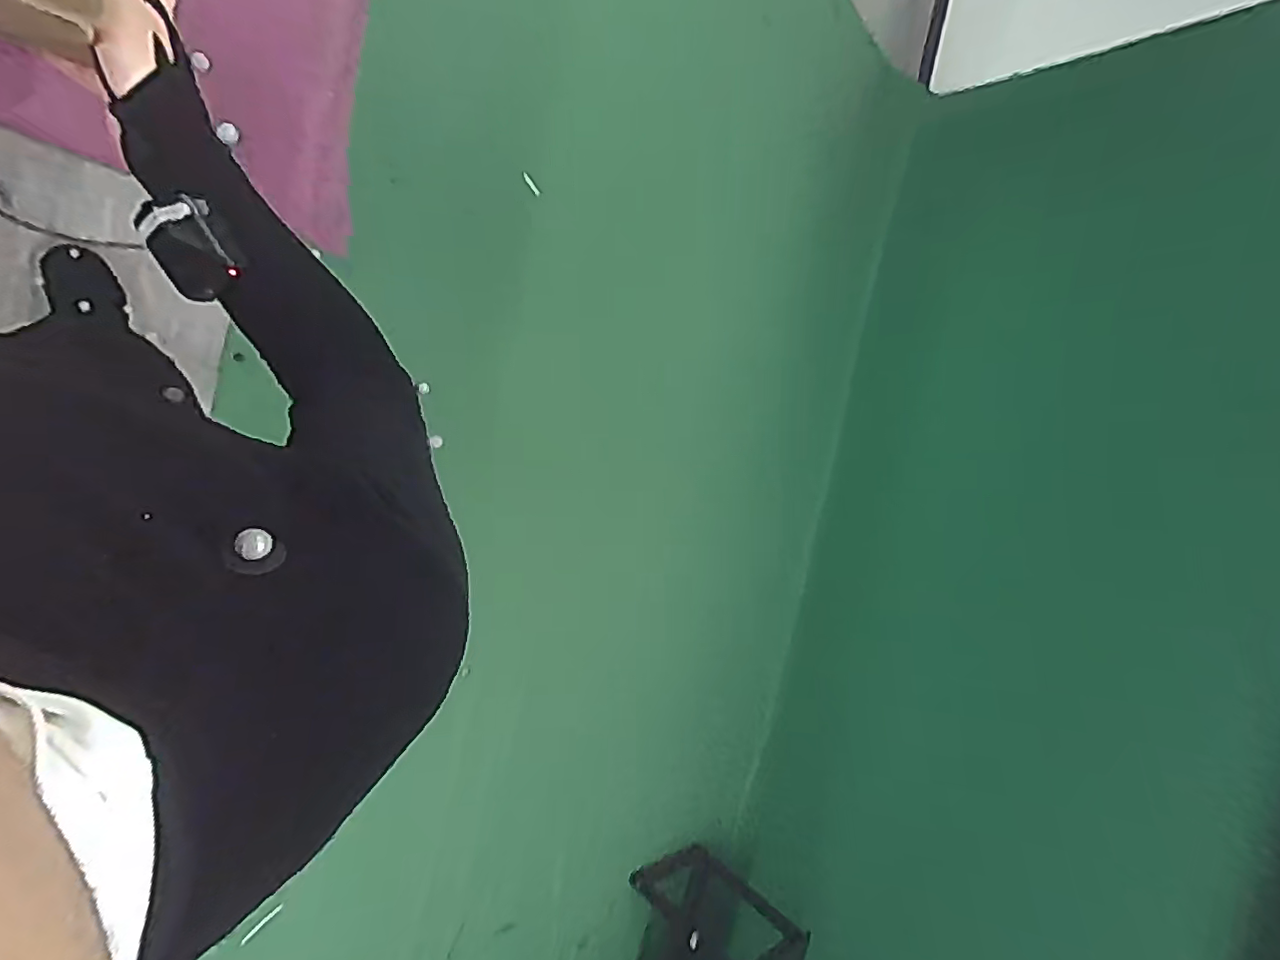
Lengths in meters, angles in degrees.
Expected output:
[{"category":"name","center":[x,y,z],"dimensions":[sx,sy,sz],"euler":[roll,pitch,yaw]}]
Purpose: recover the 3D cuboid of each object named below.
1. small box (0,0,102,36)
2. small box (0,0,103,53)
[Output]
[{"category":"small box","center":[-0.427,-0.410,0.315],"dimensions":[0.168,0.176,0.179],"euler":[4,108,-45]},{"category":"small box","center":[-0.529,-0.484,0.421],"dimensions":[0.168,0.176,0.179],"euler":[7,107,-46]}]
